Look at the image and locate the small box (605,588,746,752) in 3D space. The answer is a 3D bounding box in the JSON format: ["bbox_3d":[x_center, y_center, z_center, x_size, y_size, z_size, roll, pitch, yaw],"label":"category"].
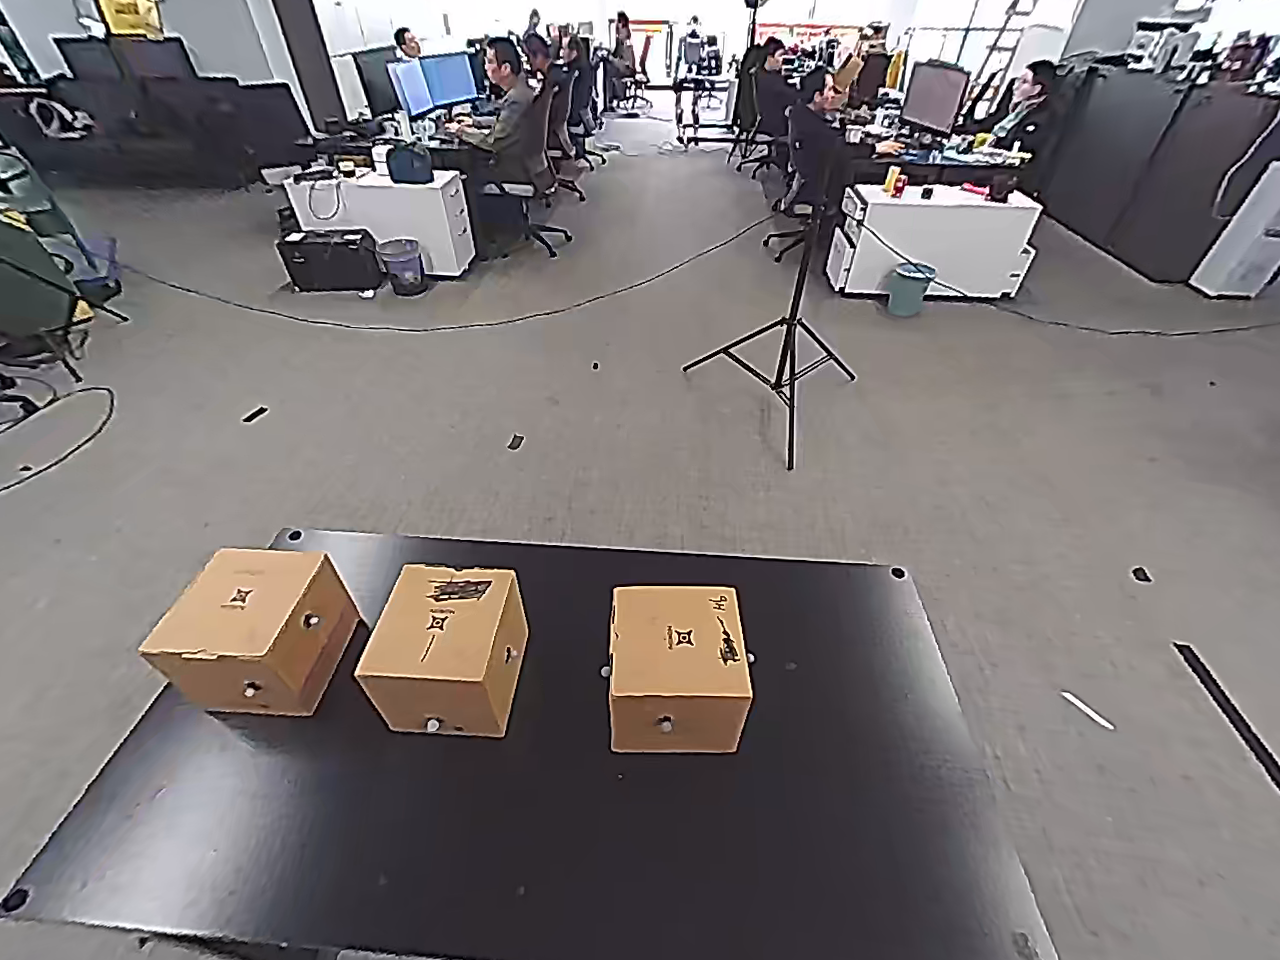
[{"bbox_3d":[0.045,0.272,0.772,0.179,0.176,0.168,0,42,0],"label":"small box"}]

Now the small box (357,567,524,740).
[{"bbox_3d":[-0.272,0.251,0.788,0.168,0.176,0.179,2,43,2],"label":"small box"}]

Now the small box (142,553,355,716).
[{"bbox_3d":[-0.558,0.231,0.806,0.168,0.176,0.179,3,41,0],"label":"small box"}]
